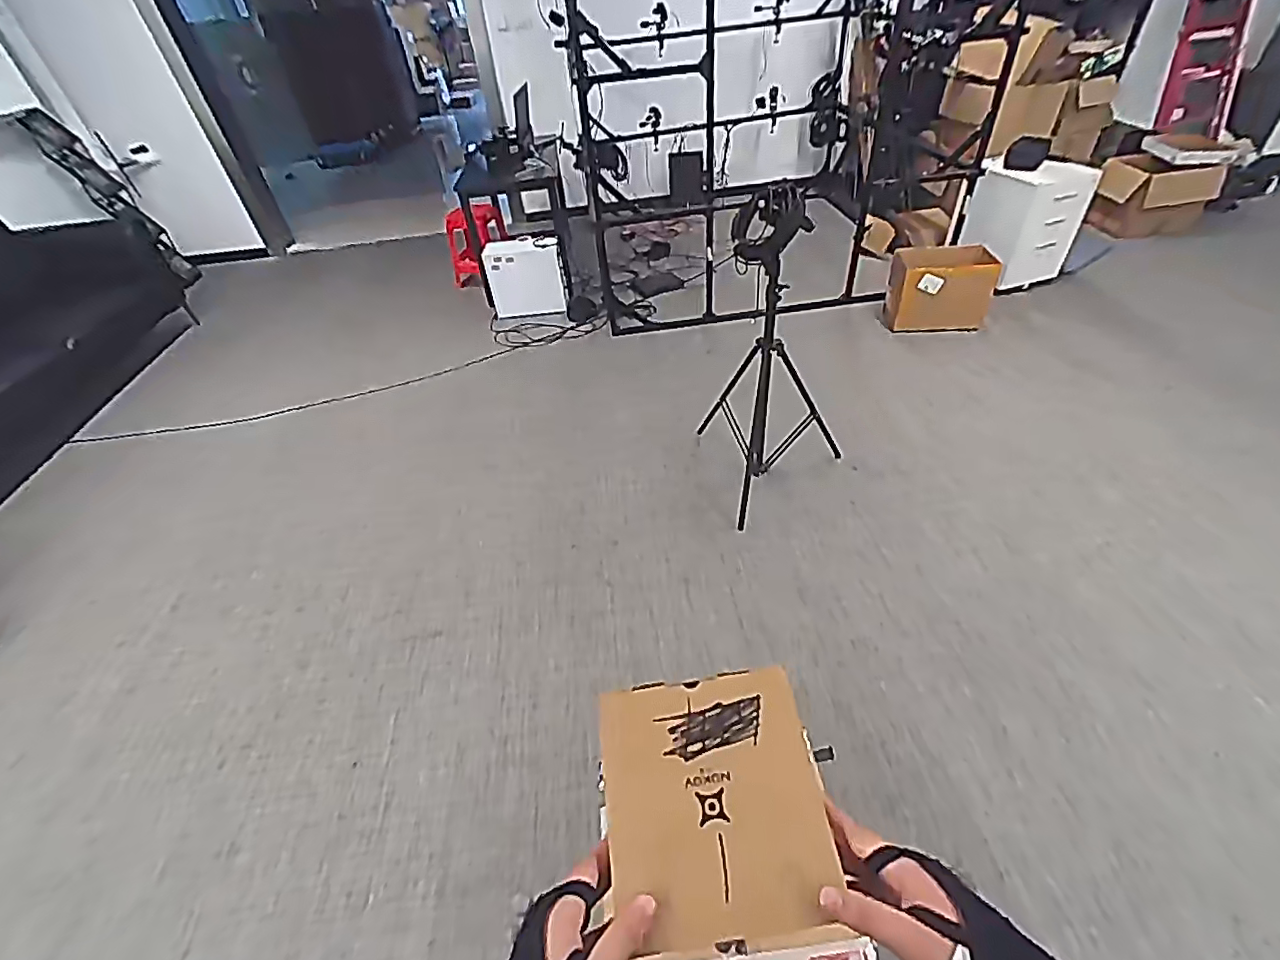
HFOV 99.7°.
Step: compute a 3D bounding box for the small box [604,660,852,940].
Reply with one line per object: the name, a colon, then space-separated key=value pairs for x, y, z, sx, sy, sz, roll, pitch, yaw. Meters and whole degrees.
small box: x=0.062 y=0.284 z=0.487 sx=0.168 sy=0.176 sz=0.179 roll=-9 pitch=55 yaw=-1
